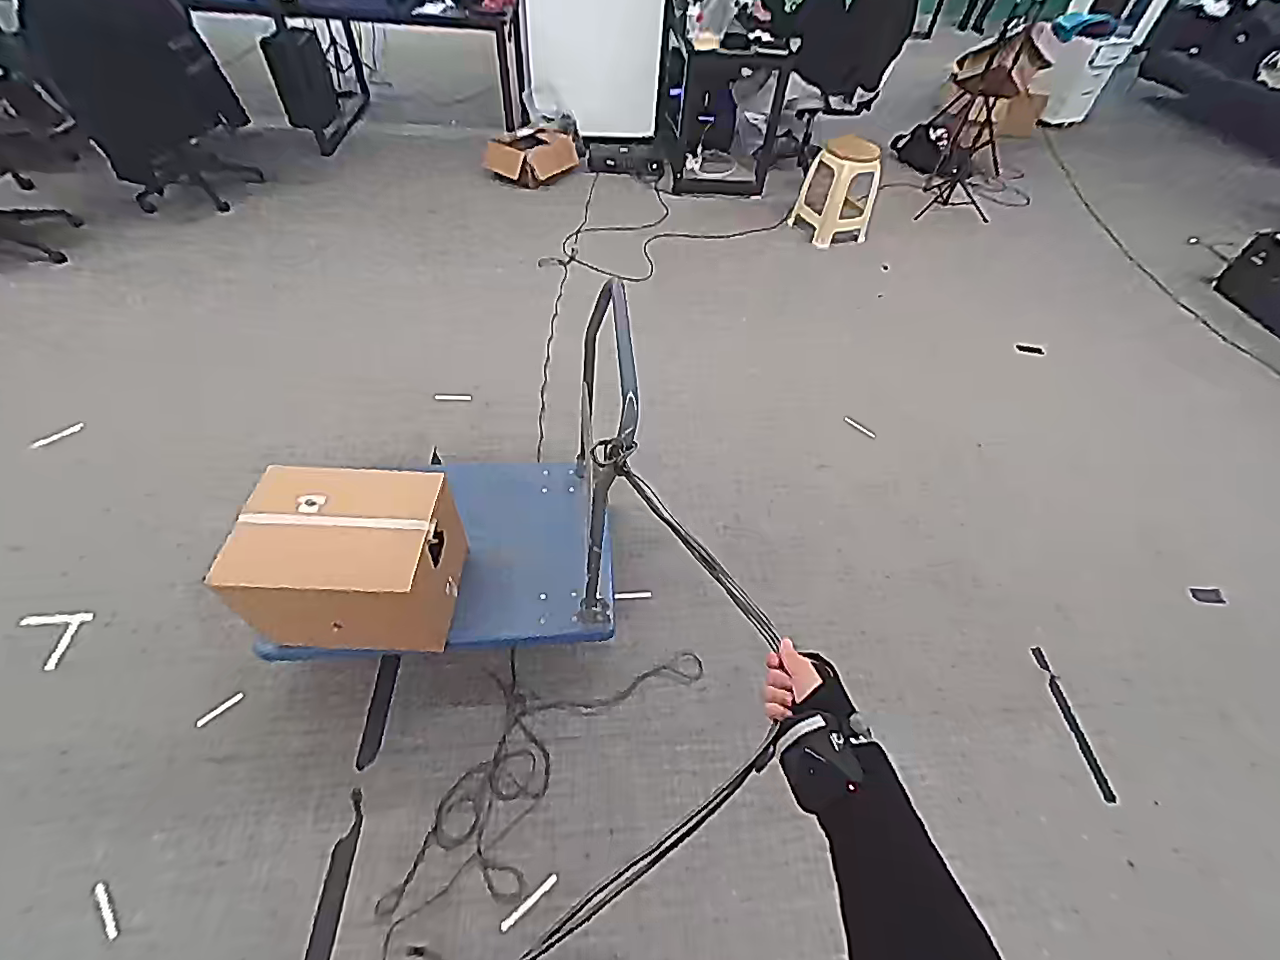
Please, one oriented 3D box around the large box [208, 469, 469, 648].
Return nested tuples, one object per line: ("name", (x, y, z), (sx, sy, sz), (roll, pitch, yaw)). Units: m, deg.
("large box", (-0.655, 0.192, 1.271), (0.408, 0.320, 0.320), (2, 50, -2))
